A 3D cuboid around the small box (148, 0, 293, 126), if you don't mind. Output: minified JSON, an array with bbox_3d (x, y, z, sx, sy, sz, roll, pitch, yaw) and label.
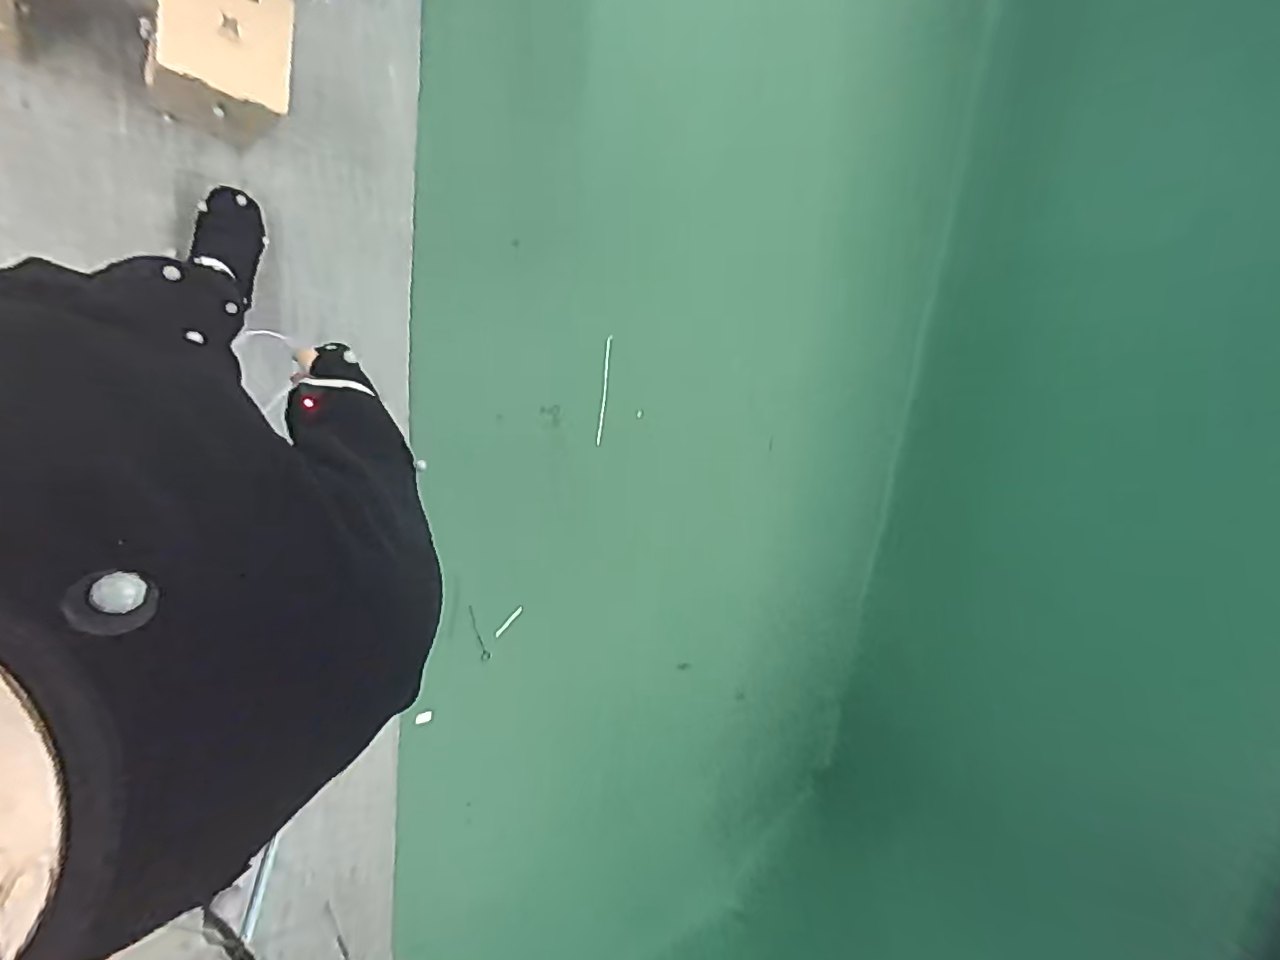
[{"bbox_3d":[-0.686,-0.715,0.882,0.168,0.176,0.179,1,104,-45],"label":"small box"}]

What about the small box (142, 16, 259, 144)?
[{"bbox_3d":[-0.797,-0.760,0.998,0.168,0.176,0.179,7,98,-44],"label":"small box"}]
